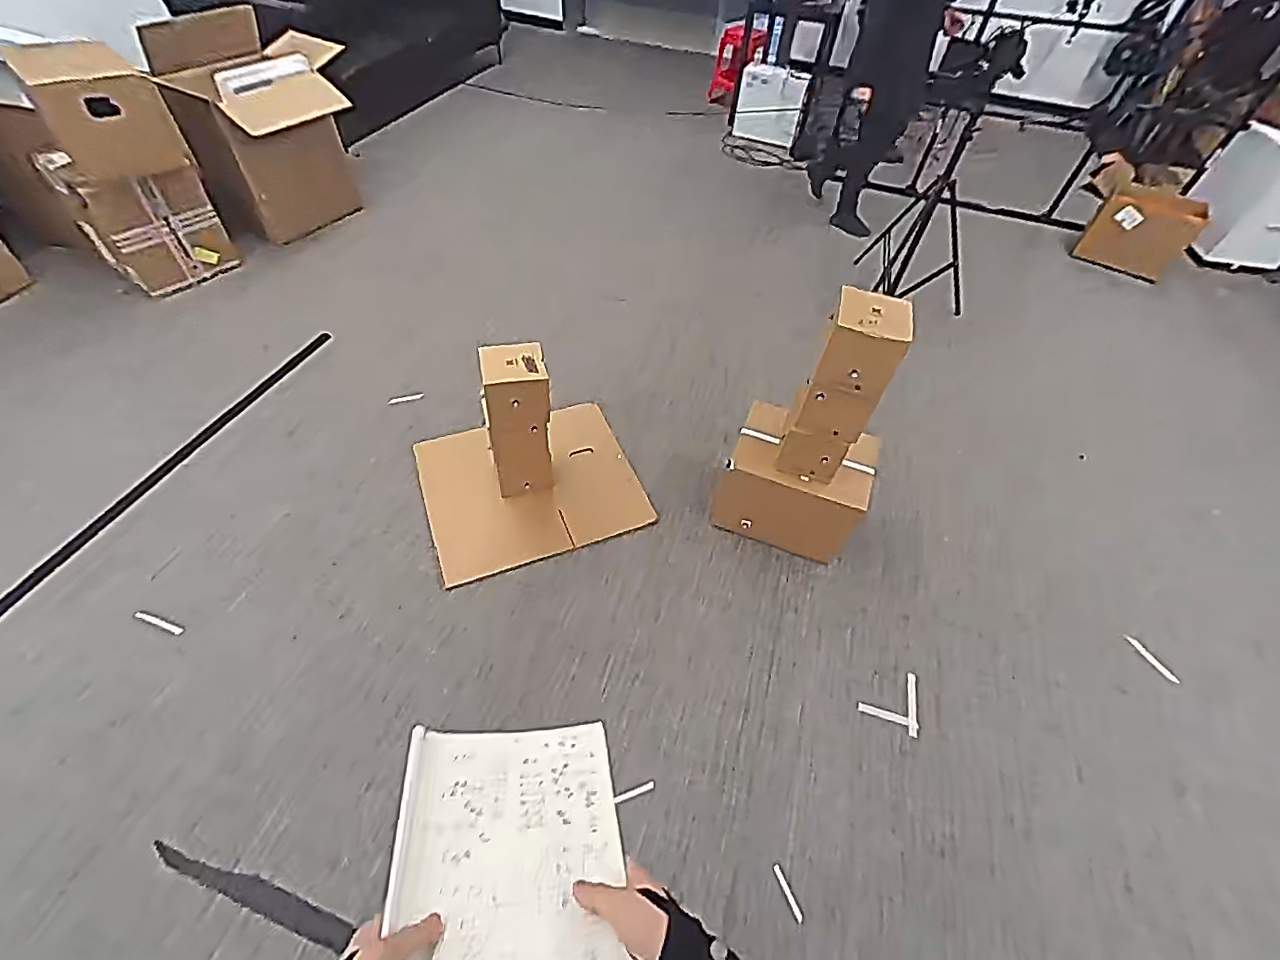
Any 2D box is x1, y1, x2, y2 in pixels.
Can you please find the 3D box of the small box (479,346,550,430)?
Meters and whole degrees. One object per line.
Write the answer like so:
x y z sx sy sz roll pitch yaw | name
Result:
-0.355 -0.261 1.543 0.179 0.176 0.168 -8 52 -14 | small box

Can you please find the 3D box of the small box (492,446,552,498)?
-0.397 -0.061 1.800 0.179 0.176 0.168 -11 53 -17 | small box

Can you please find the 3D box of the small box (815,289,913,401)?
0.529 -0.319 1.284 0.168 0.176 0.179 17 52 8 | small box

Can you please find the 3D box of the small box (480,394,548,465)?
-0.386 -0.163 1.673 0.179 0.176 0.168 -10 52 -16 | small box

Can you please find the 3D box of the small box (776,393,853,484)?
0.494 -0.115 1.541 0.168 0.176 0.179 15 51 6 | small box
